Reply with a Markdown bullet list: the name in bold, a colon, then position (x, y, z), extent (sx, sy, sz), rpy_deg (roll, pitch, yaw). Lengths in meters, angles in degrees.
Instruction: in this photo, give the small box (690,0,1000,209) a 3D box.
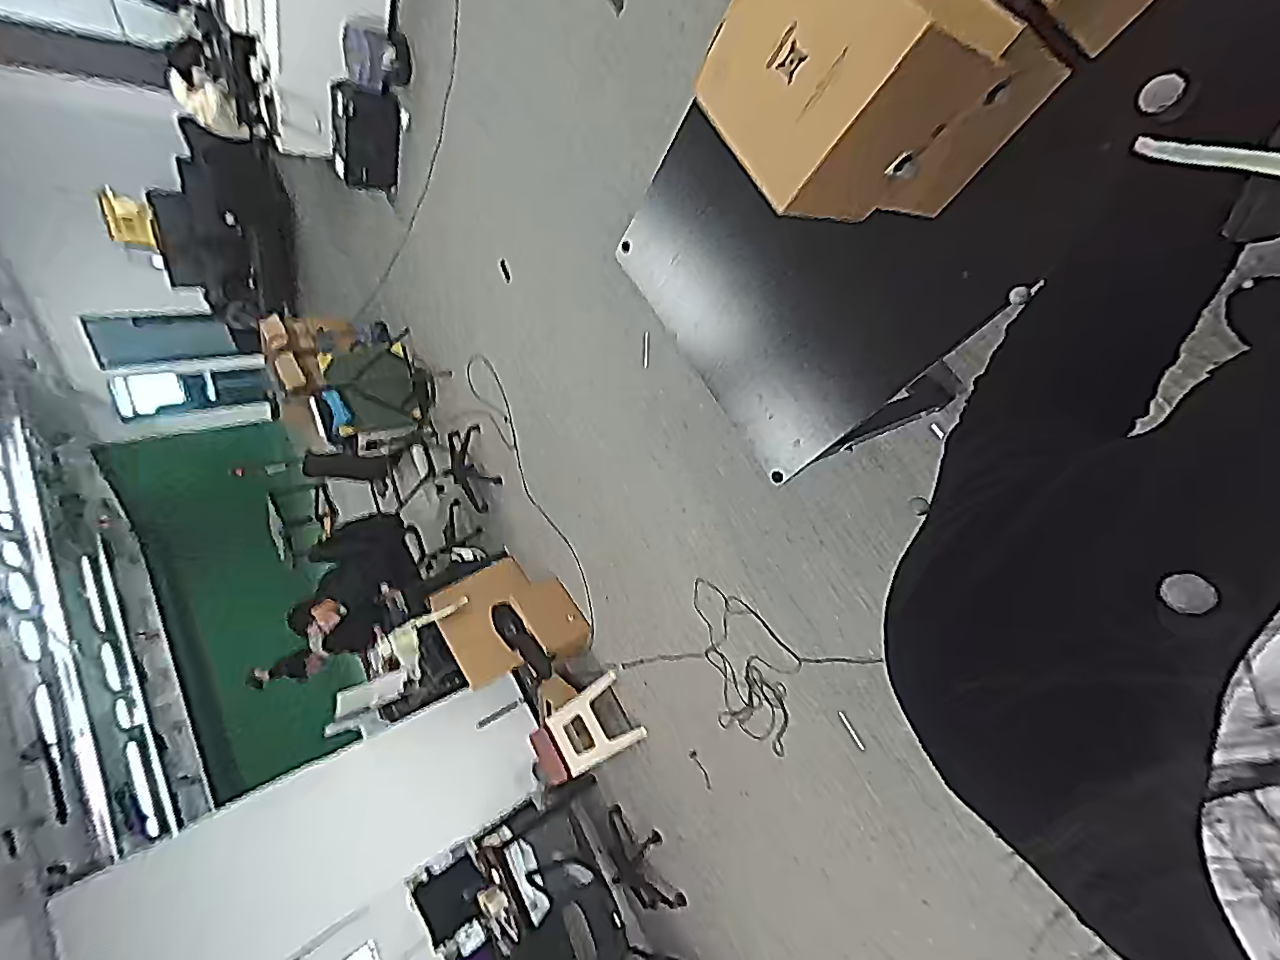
- **small box**: position (0.186, -0.378, 0.507), extent (0.179, 0.176, 0.168), rpy_deg (60, 142, 13)
